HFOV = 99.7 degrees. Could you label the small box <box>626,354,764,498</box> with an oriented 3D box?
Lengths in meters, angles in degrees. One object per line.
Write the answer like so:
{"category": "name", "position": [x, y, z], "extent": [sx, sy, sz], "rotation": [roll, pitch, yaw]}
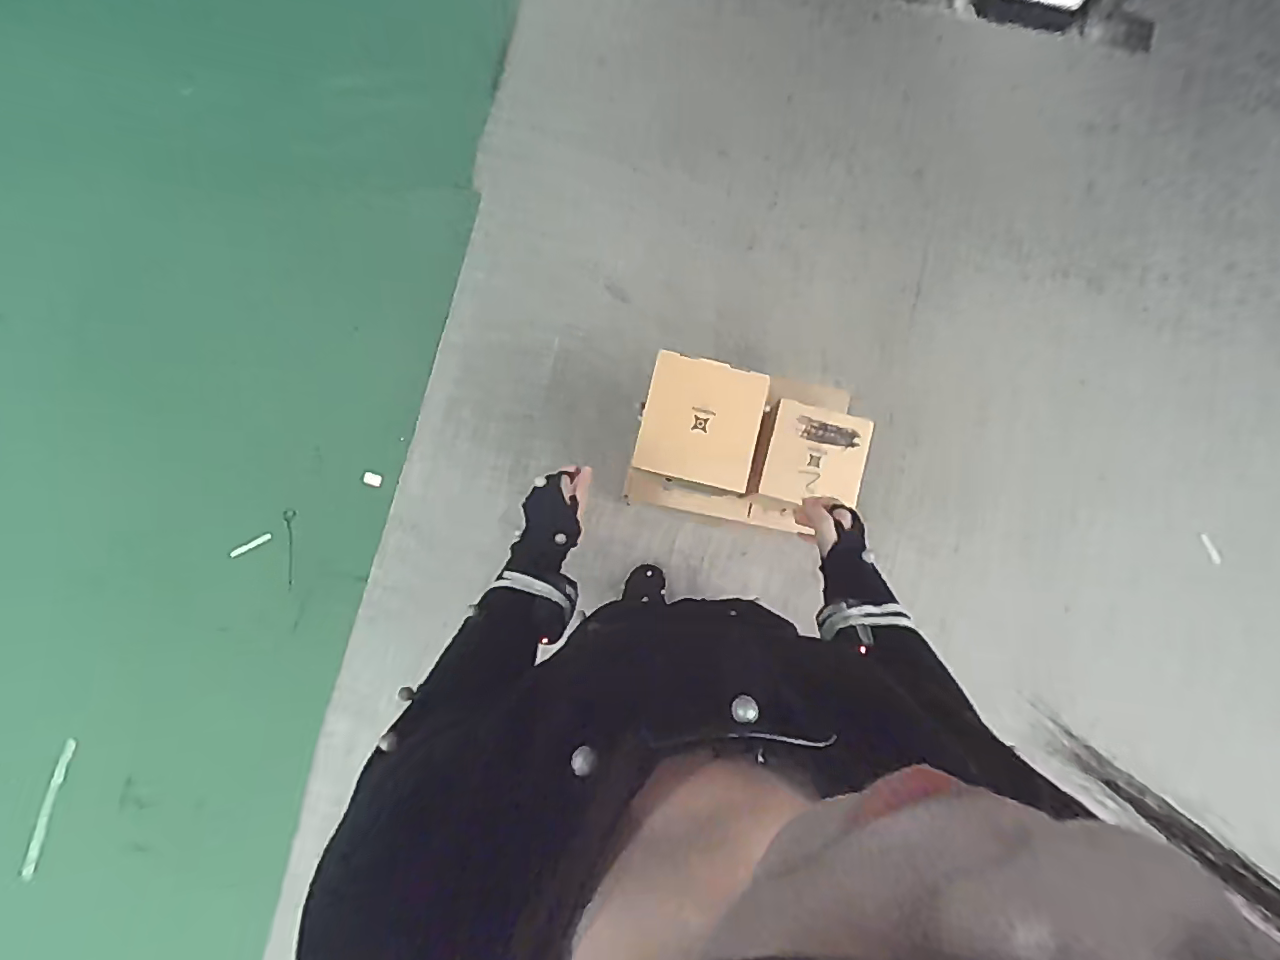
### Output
{"category": "small box", "position": [0.079, -0.073, 0.851], "extent": [0.168, 0.176, 0.179], "rotation": [14, 85, 0]}
